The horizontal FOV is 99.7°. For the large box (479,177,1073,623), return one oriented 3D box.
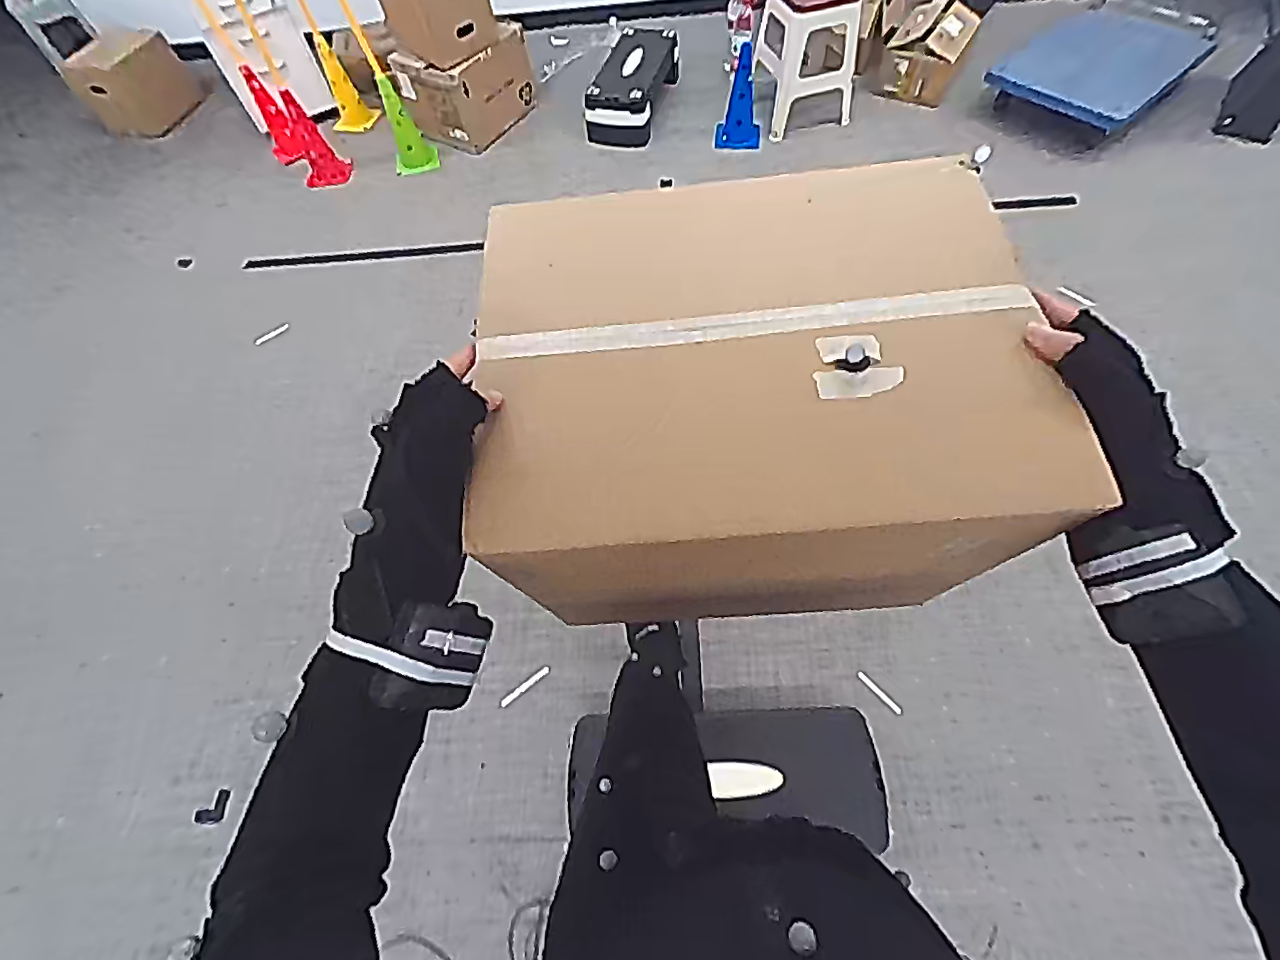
[{"bbox_3d":[0.087,-0.049,0.555,0.408,0.320,0.320,-5,66,3],"label":"large box"}]
